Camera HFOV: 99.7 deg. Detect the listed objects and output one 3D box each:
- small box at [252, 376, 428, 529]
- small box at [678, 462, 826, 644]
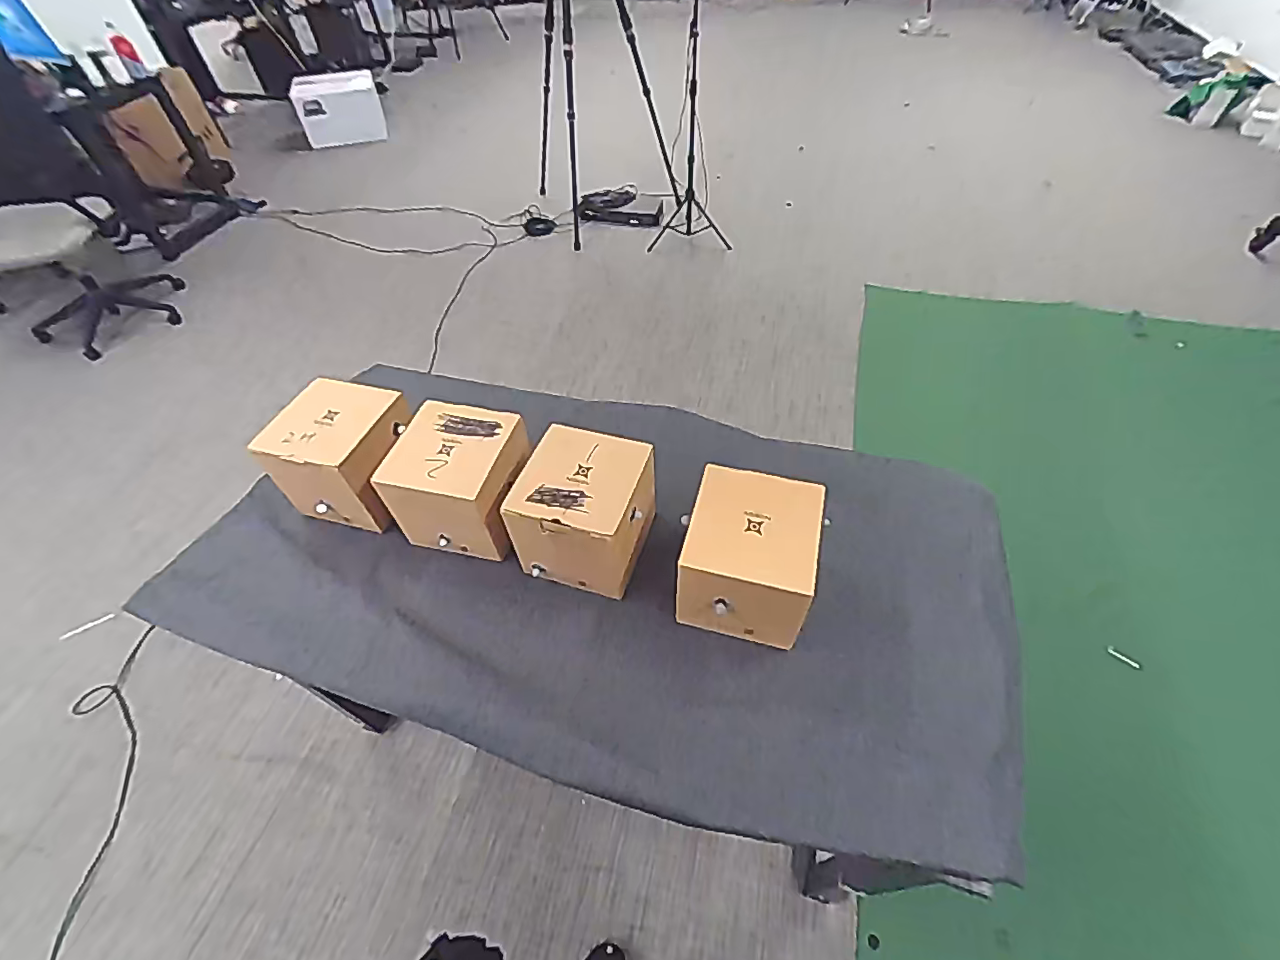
[{"bbox_3d":[-0.484,-0.046,0.911,0.168,0.176,0.179,11,52,12],"label":"small box"},{"bbox_3d":[0.153,0.105,0.757,0.168,0.176,0.179,11,51,12],"label":"small box"}]
